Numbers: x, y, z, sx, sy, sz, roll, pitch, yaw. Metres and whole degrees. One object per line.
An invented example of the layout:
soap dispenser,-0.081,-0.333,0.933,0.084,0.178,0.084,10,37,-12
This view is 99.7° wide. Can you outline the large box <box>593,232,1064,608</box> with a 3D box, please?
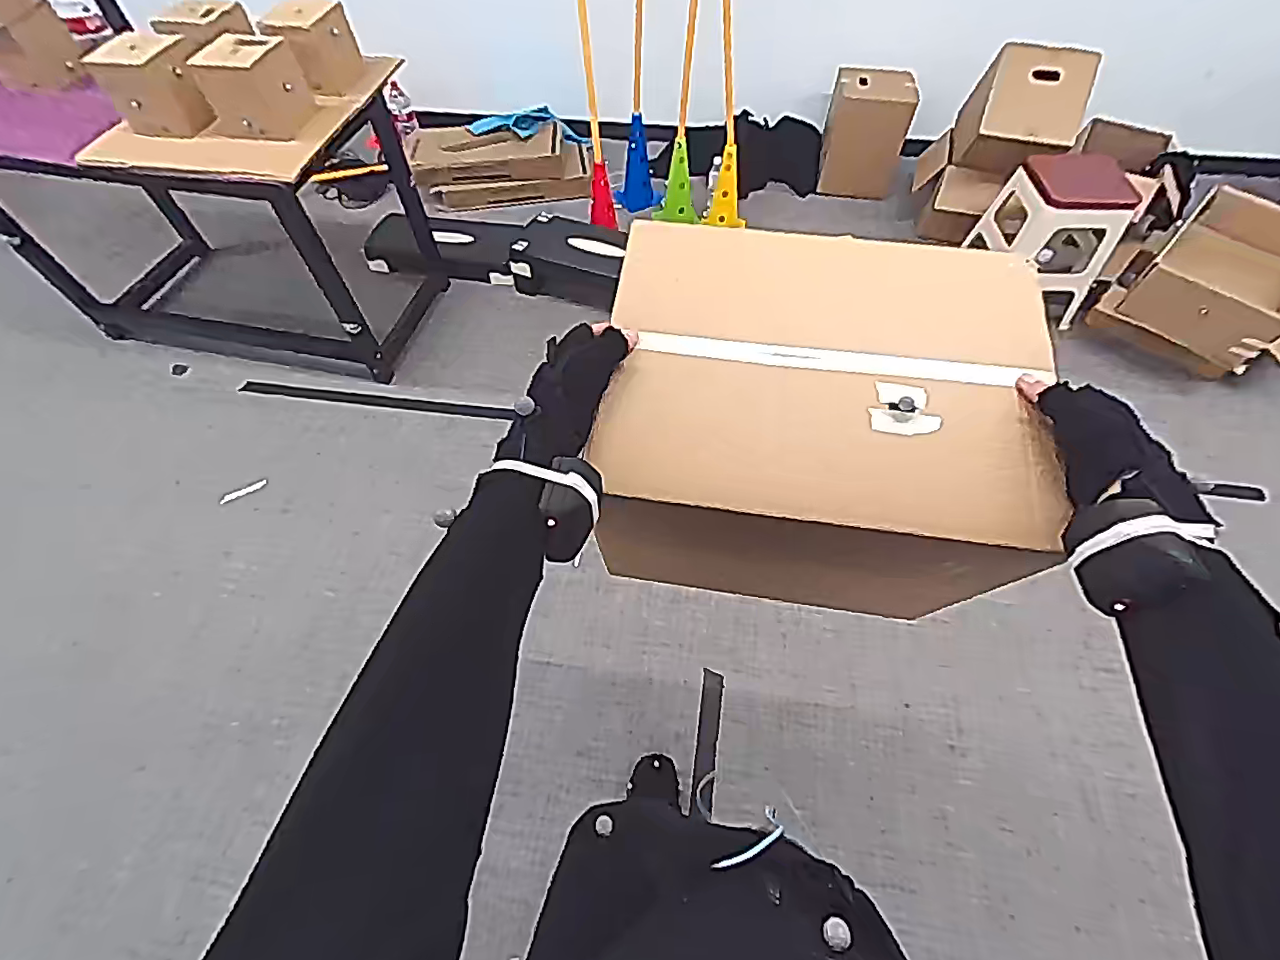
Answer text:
large box,0.177,-0.050,0.650,0.408,0.320,0.320,8,69,5
